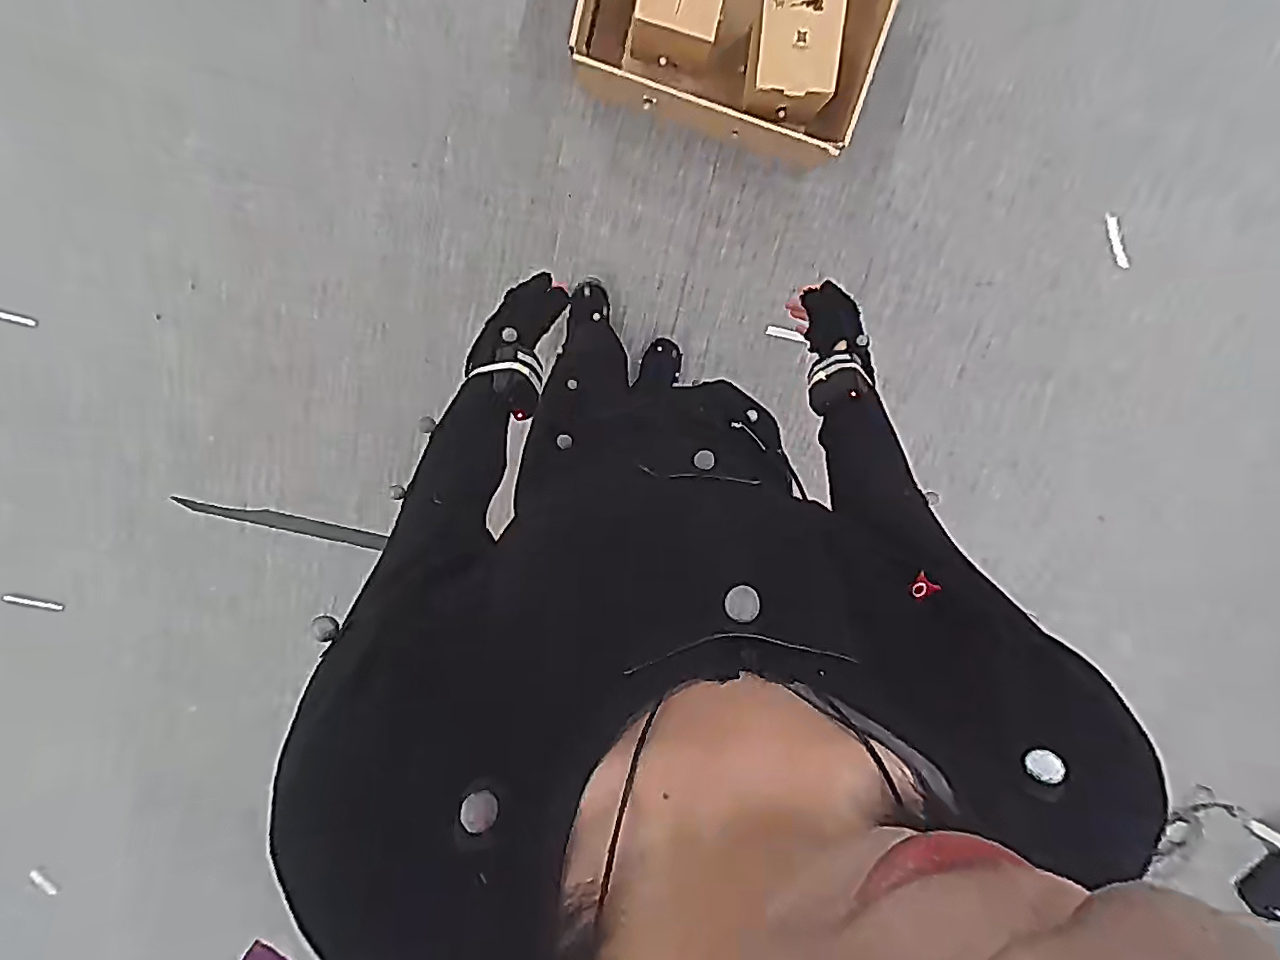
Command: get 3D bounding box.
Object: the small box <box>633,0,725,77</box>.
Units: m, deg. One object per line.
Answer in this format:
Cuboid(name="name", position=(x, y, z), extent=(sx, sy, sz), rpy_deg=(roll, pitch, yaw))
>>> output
Cuboid(name="small box", position=(0.083, -0.984, 1.114), extent=(0.168, 0.176, 0.179), rpy_deg=(12, 105, -7))
